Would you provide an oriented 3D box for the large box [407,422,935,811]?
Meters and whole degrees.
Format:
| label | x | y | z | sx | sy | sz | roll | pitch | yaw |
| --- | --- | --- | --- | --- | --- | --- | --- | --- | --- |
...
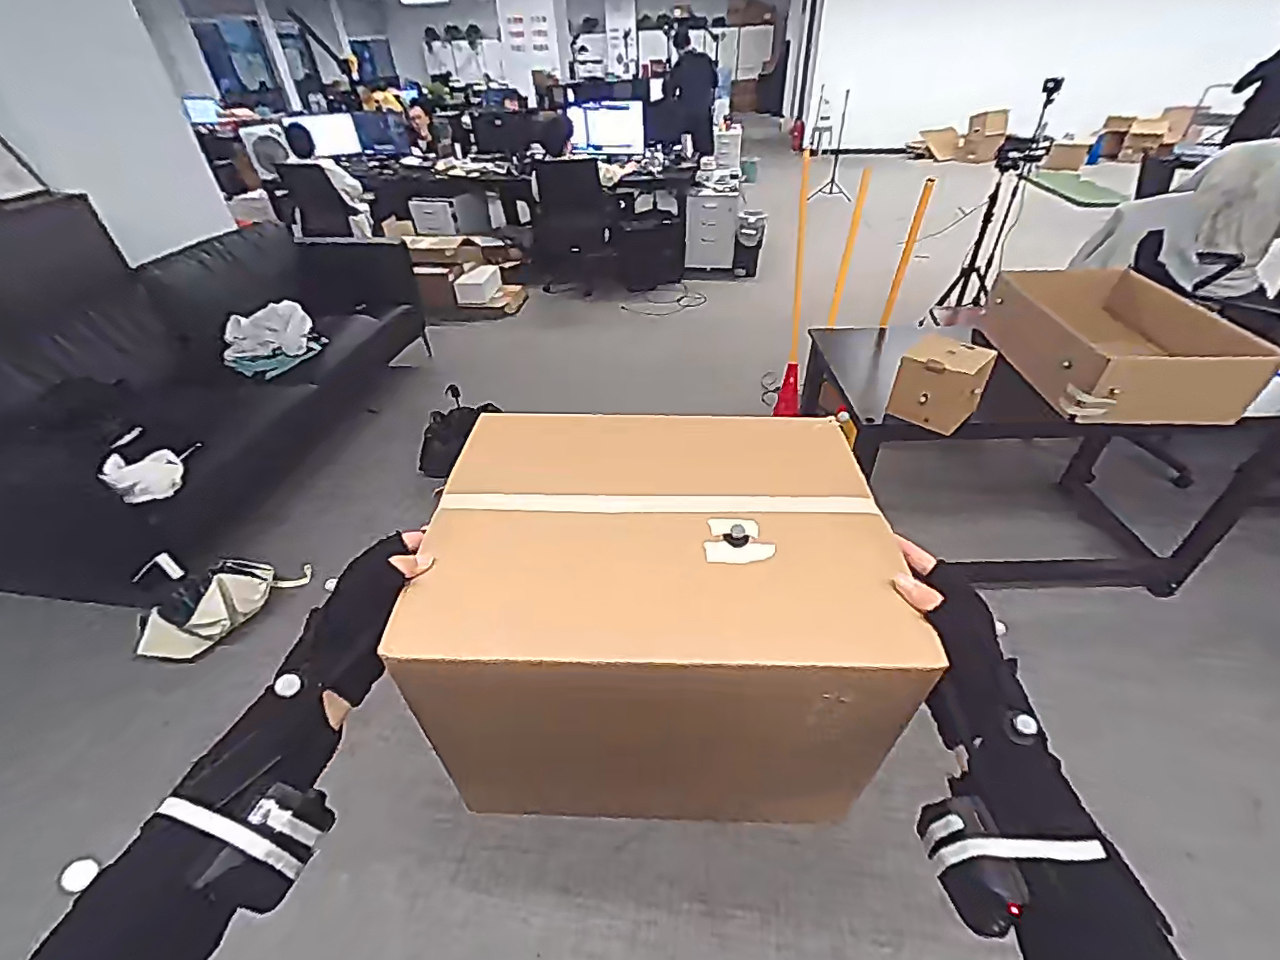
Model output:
| label | x | y | z | sx | sy | sz | roll | pitch | yaw |
| --- | --- | --- | --- | --- | --- | --- | --- | --- | --- |
| large box | 0.021 | 0.146 | 0.606 | 0.408 | 0.320 | 0.320 | 1 | 41 | 0 |
